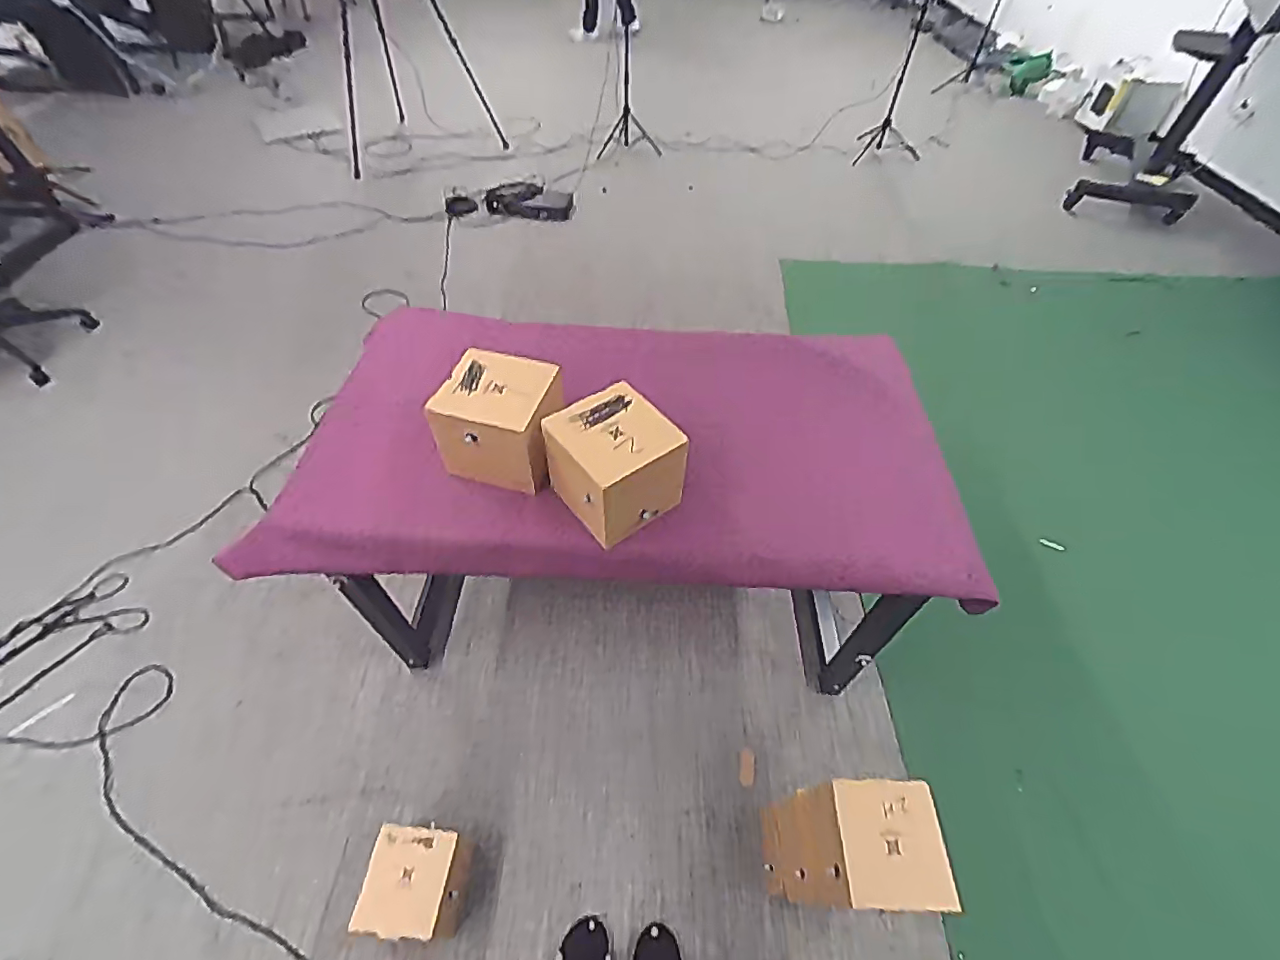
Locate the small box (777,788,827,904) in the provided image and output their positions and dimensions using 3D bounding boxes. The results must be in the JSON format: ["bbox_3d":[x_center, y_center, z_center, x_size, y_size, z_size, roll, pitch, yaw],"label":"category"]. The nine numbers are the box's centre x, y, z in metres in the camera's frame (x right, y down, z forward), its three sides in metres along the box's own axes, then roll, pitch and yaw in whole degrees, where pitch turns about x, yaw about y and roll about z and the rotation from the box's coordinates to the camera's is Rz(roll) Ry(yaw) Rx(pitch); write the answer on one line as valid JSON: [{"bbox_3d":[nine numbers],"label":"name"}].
[{"bbox_3d":[0.373,0.716,1.054,0.168,0.176,0.179,2,53,-1],"label":"small box"}]

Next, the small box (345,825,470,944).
[{"bbox_3d":[-0.471,0.841,1.131,0.168,0.176,0.179,6,52,2],"label":"small box"}]

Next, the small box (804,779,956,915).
[{"bbox_3d":[0.392,0.623,0.919,0.168,0.176,0.179,2,52,-1],"label":"small box"}]

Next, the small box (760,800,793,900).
[{"bbox_3d":[0.364,0.815,1.182,0.179,0.176,0.168,4,51,1],"label":"small box"}]

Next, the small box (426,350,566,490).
[{"bbox_3d":[-0.244,-0.103,0.966,0.179,0.176,0.168,13,52,8],"label":"small box"}]
